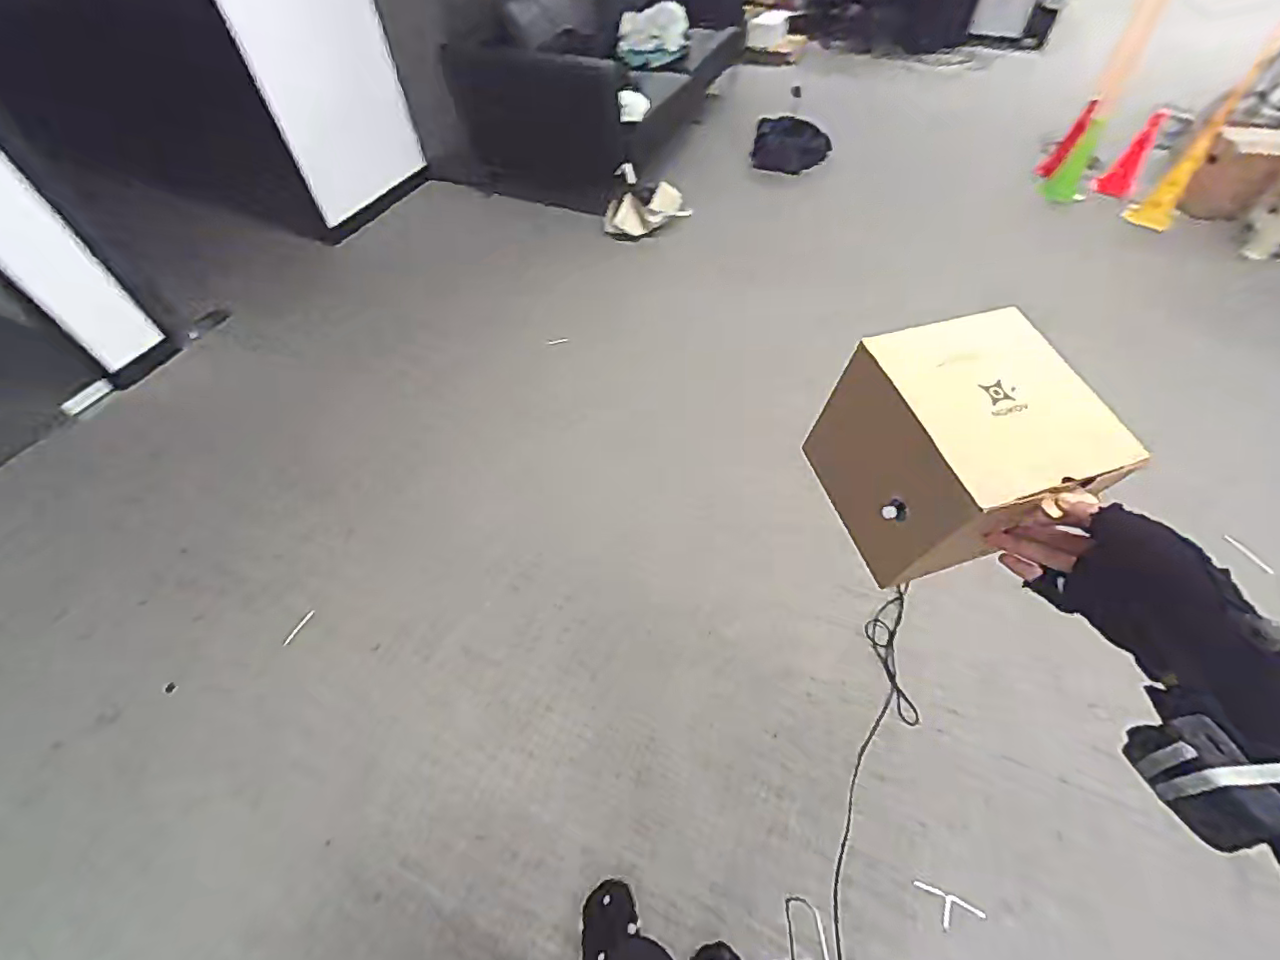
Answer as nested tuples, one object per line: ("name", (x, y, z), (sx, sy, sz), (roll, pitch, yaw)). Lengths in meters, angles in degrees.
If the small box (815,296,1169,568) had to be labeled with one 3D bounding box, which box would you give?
("small box", (0.291, -0.033, 0.496), (0.168, 0.176, 0.179), (-13, 61, -11))
